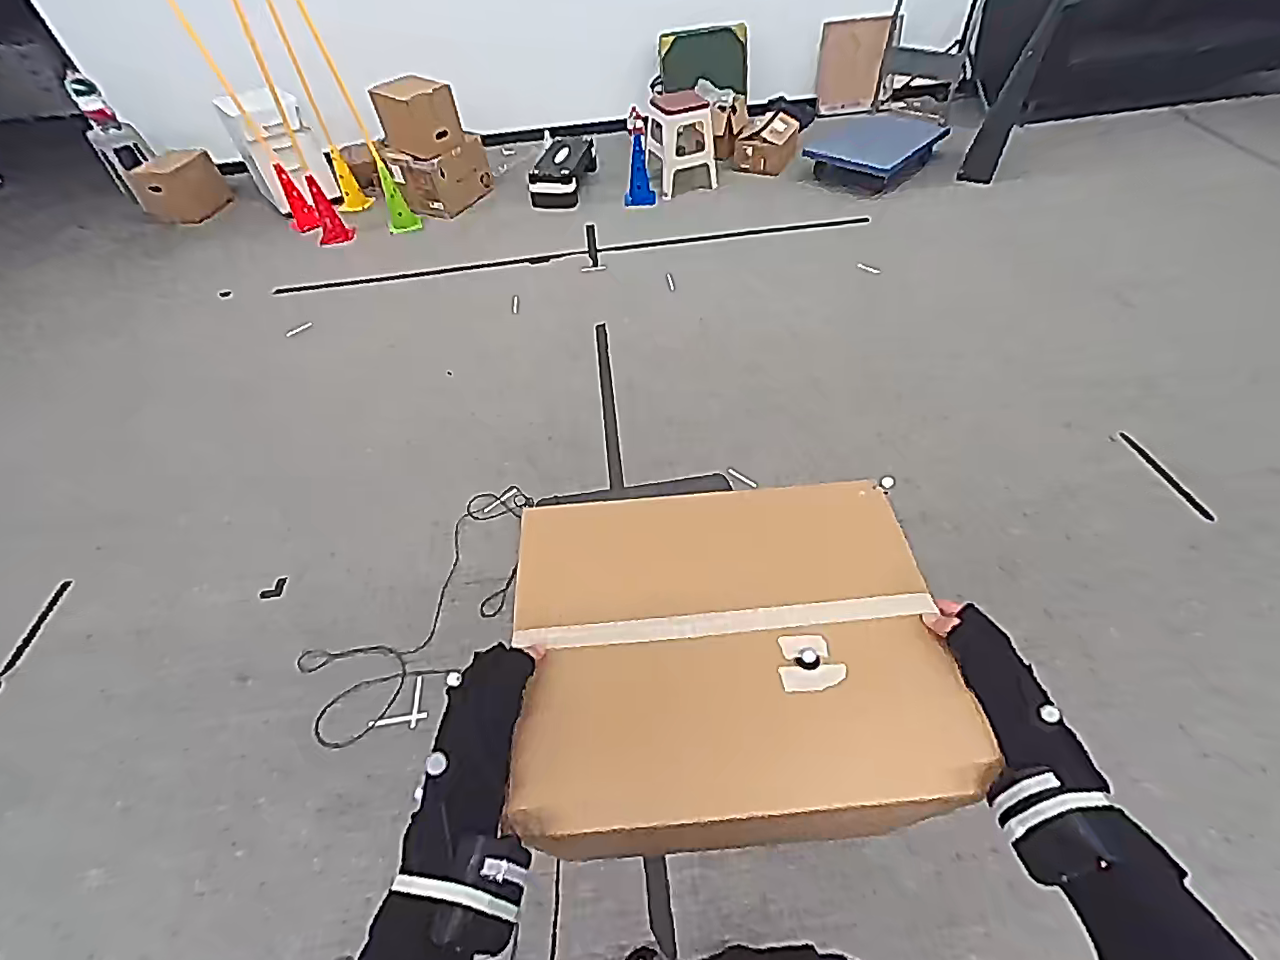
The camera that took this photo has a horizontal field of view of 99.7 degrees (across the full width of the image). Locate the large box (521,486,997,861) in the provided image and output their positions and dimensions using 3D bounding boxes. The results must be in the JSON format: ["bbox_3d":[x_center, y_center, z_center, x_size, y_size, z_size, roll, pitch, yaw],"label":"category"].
[{"bbox_3d":[0.091,0.236,0.646,0.408,0.320,0.320,-5,52,-1],"label":"large box"}]
